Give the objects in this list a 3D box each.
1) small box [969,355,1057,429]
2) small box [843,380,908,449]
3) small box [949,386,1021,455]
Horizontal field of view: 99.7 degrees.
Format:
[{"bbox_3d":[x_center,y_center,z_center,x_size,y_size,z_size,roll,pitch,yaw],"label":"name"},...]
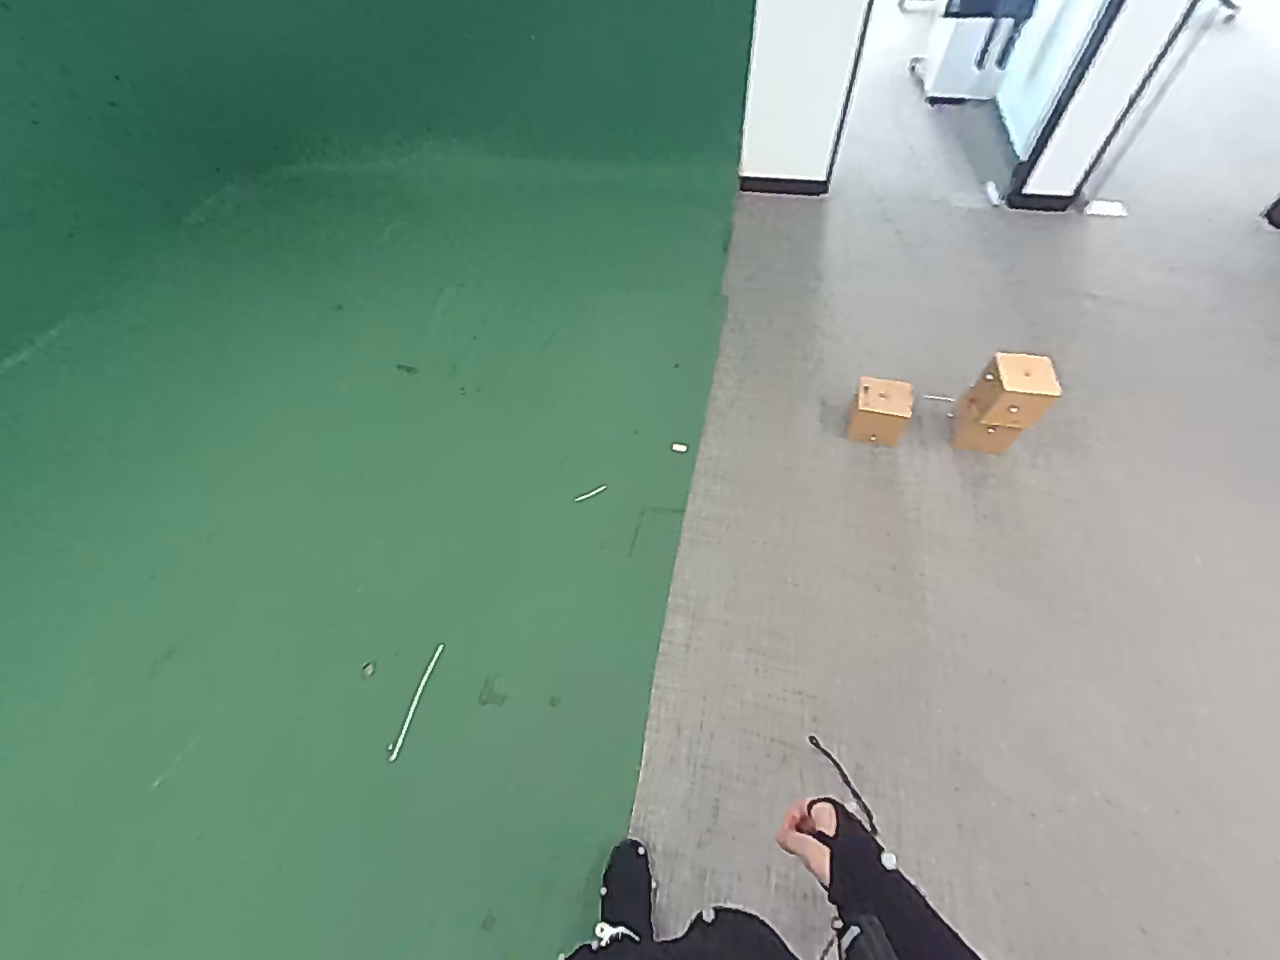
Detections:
[{"bbox_3d":[1.219,-0.288,1.781,0.168,0.176,0.179,6,55,7],"label":"small box"},{"bbox_3d":[0.853,-0.234,1.963,0.179,0.176,0.168,11,56,10],"label":"small box"},{"bbox_3d":[1.224,-0.208,1.923,0.179,0.176,0.168,10,56,9],"label":"small box"}]
